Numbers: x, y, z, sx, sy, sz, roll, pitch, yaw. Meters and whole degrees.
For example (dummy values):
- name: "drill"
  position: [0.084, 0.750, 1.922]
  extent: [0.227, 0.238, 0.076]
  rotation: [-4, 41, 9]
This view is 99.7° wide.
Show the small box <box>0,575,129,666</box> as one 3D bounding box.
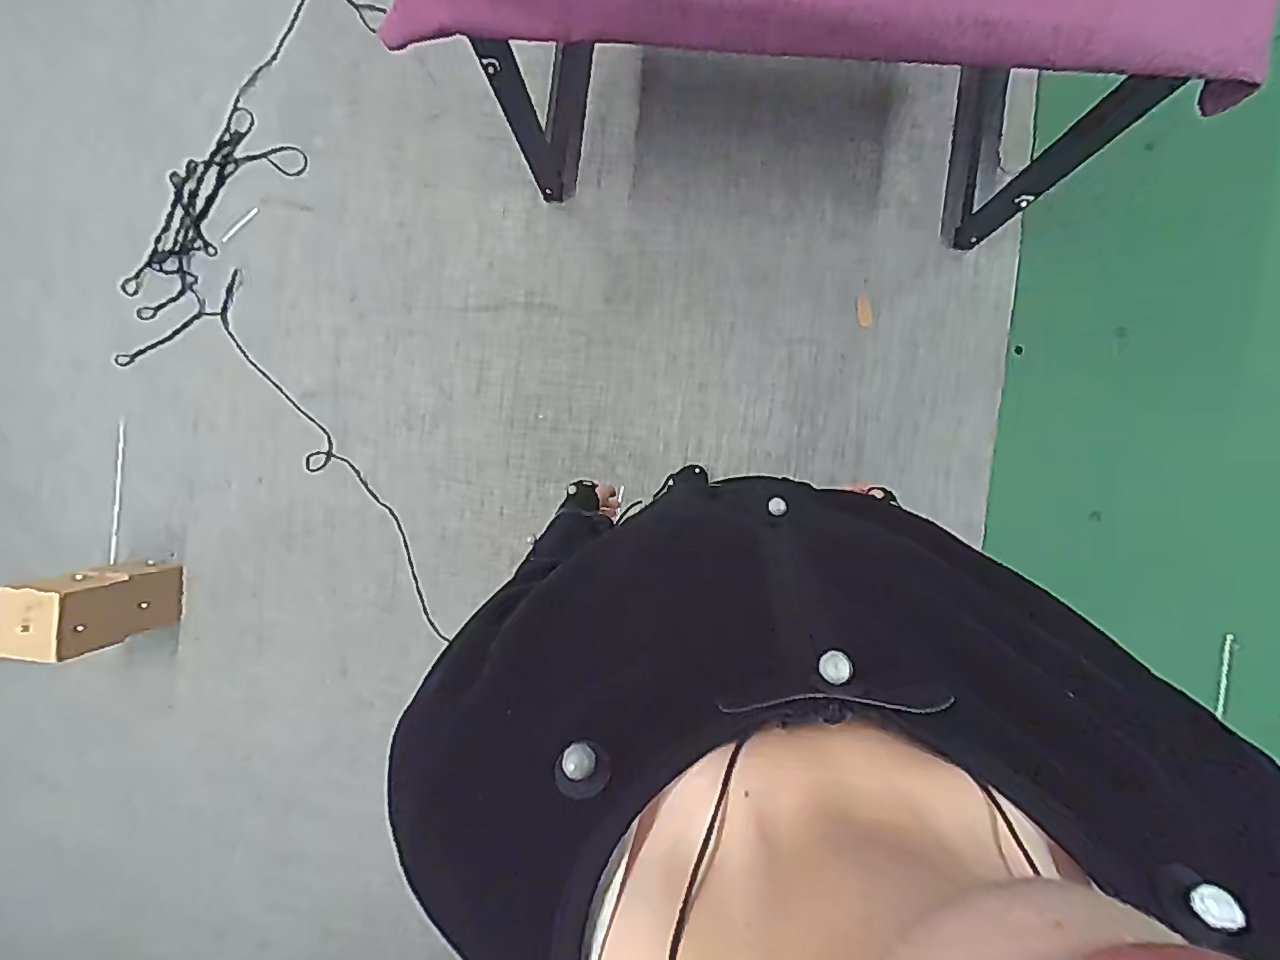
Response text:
- name: "small box"
  position: [-1.467, 0.353, 1.382]
  extent: [0.168, 0.176, 0.179]
  rotation: [6, 91, 3]

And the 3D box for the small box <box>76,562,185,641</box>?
- name: "small box"
  position: [-1.455, 0.342, 1.546]
  extent: [0.168, 0.176, 0.179]
  rotation: [5, 90, 4]
